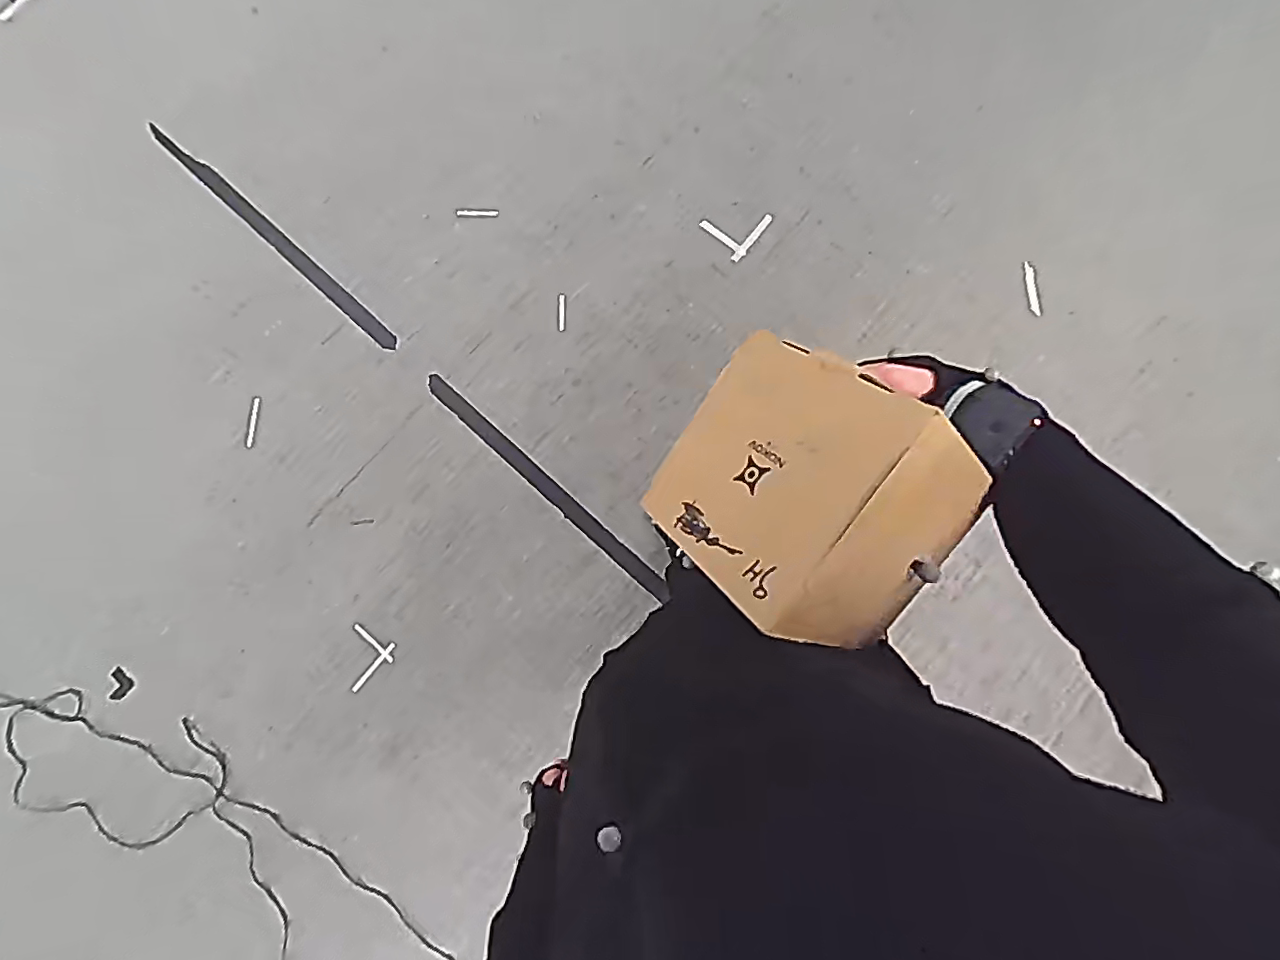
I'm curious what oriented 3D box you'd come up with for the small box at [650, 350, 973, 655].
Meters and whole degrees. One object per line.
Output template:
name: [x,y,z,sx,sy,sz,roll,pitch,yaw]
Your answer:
small box: [0.148,0.025,0.460,0.179,0.176,0.168,-56,43,10]
